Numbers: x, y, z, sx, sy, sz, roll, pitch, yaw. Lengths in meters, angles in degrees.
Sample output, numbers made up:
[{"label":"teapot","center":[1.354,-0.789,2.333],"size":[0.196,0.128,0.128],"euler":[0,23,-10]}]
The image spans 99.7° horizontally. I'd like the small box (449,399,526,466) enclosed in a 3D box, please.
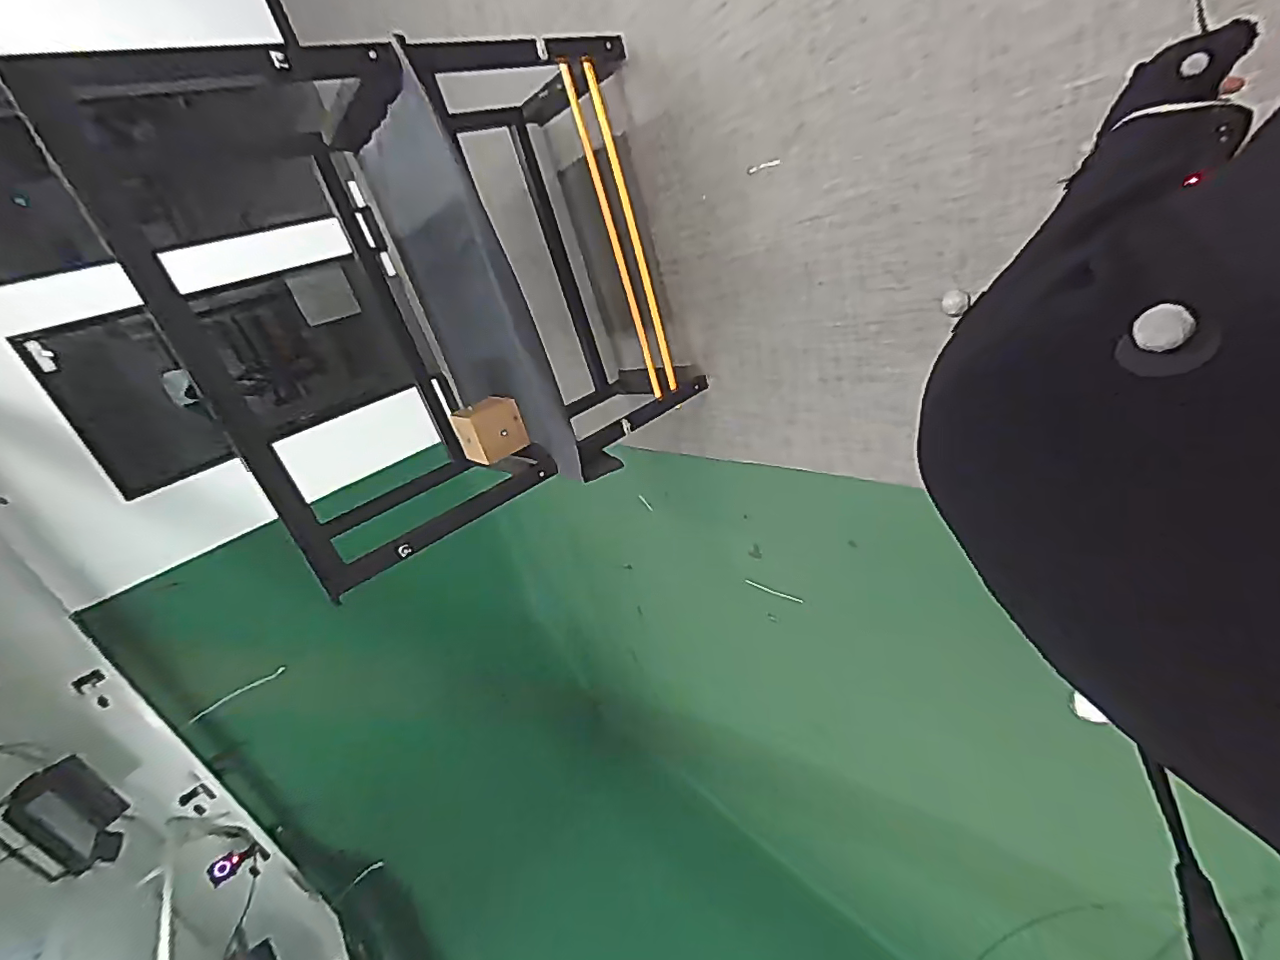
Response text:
[{"label":"small box","center":[-0.502,-0.164,1.809],"size":[0.179,0.176,0.168],"euler":[15,128,49]}]
